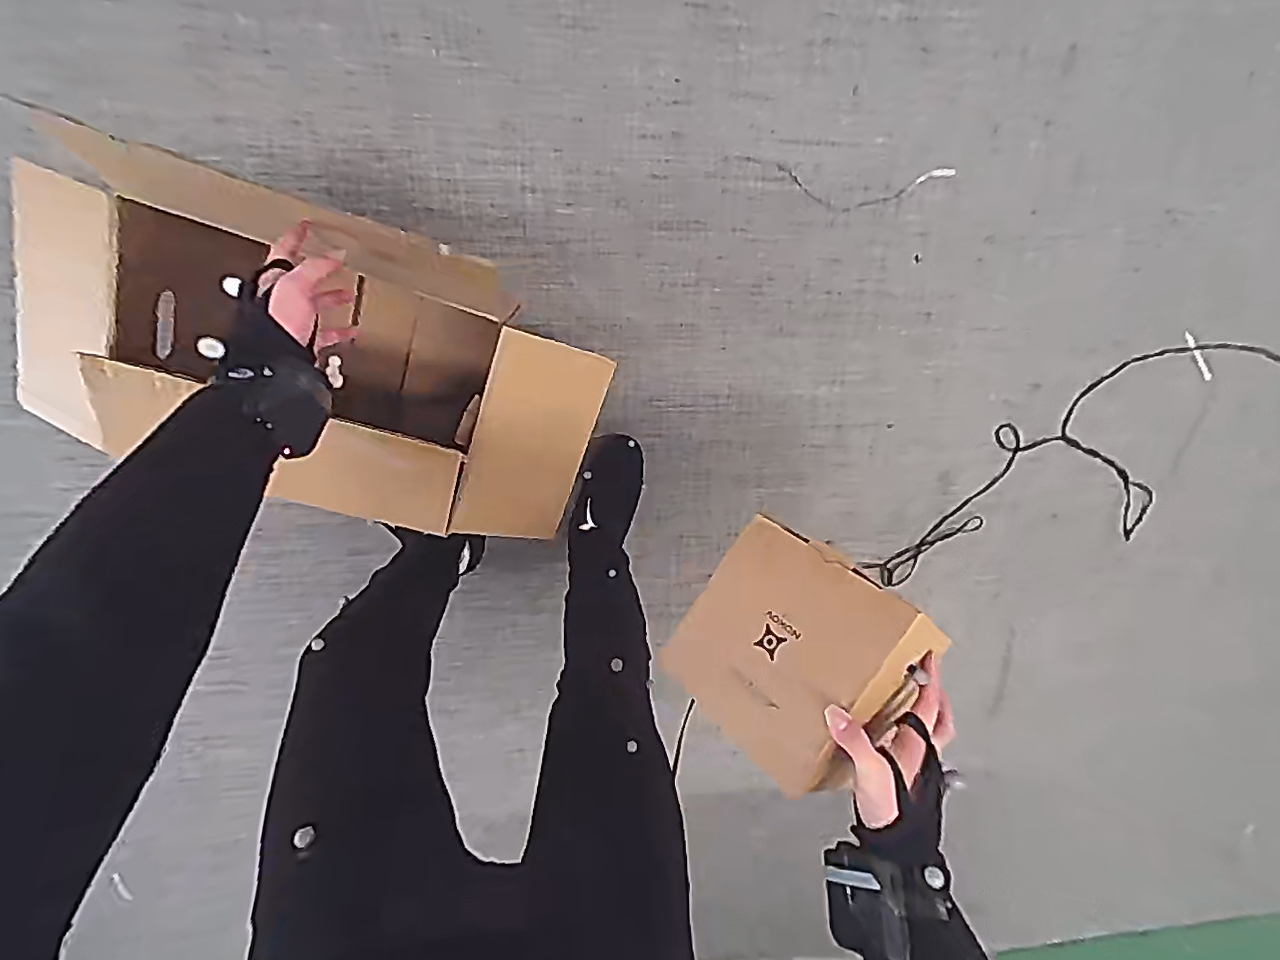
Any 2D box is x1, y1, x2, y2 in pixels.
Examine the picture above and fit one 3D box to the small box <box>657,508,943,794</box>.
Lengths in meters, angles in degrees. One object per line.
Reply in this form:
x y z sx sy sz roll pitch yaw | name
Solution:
0.156 0.160 0.510 0.176 0.168 0.179 34 92 -45 | small box
